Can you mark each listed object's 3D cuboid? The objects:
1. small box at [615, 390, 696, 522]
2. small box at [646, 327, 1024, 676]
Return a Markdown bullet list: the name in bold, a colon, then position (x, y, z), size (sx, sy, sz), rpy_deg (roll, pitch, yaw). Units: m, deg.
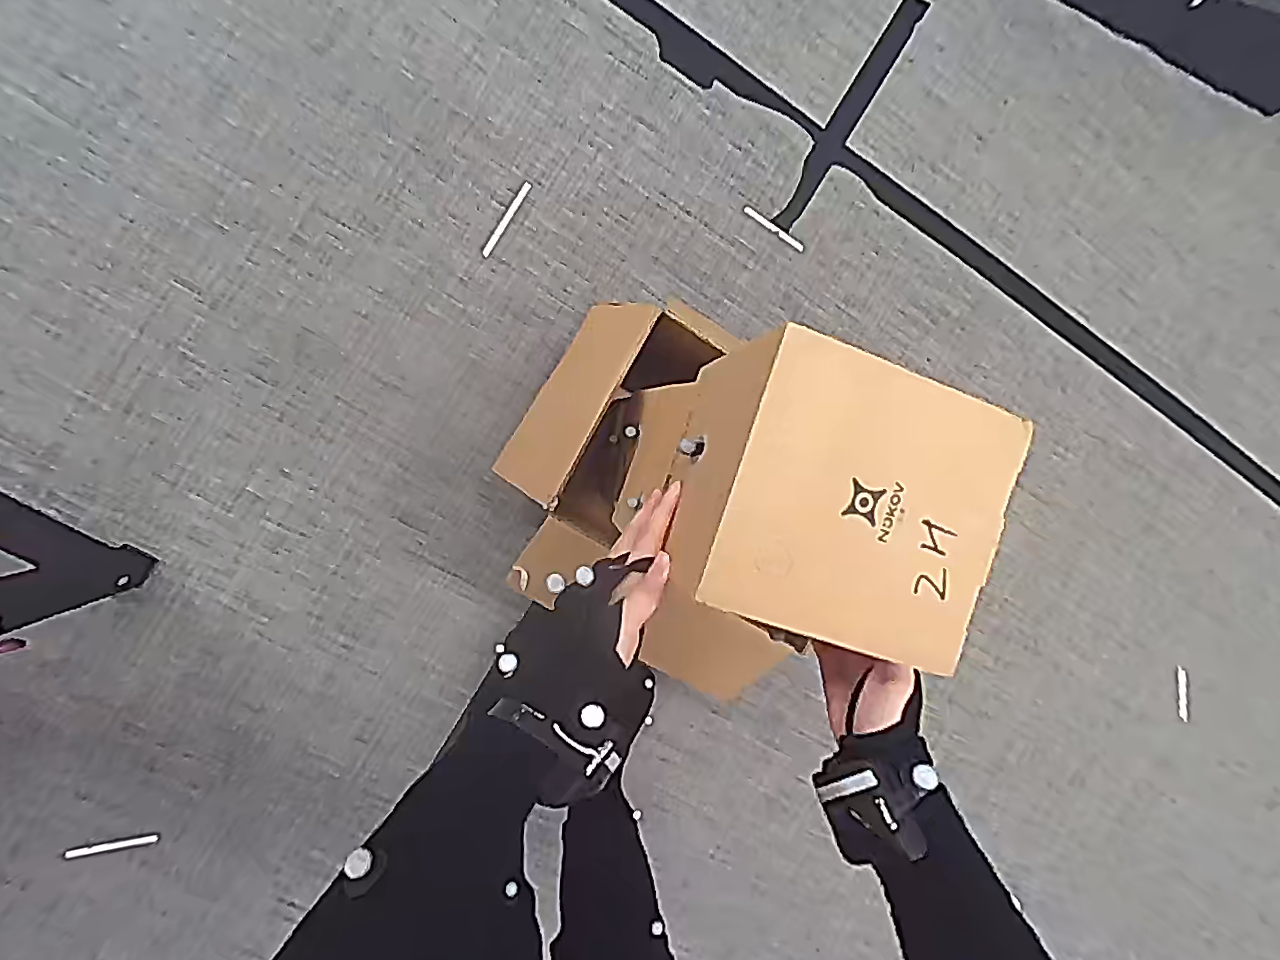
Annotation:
- **small box**: position (0.070, -0.024, 0.758), size (0.179, 0.176, 0.168), rpy_deg (9, 95, -13)
- **small box**: position (0.117, 0.014, 0.395), size (0.179, 0.176, 0.168), rpy_deg (19, 89, -11)
